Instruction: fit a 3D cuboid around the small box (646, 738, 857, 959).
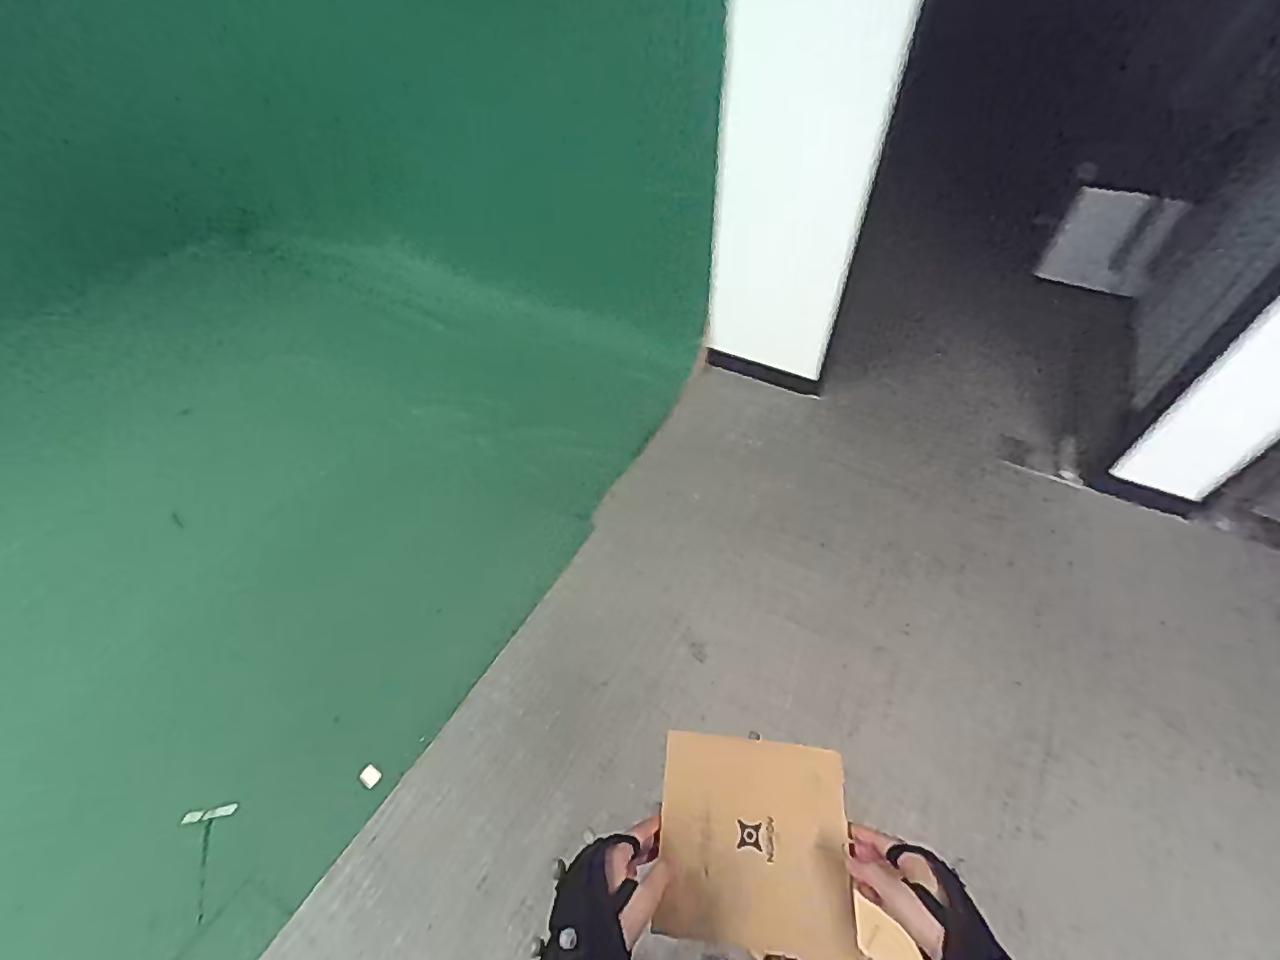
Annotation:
[{"bbox_3d":[0.111,0.379,0.555,0.179,0.176,0.168,4,56,11],"label":"small box"}]
